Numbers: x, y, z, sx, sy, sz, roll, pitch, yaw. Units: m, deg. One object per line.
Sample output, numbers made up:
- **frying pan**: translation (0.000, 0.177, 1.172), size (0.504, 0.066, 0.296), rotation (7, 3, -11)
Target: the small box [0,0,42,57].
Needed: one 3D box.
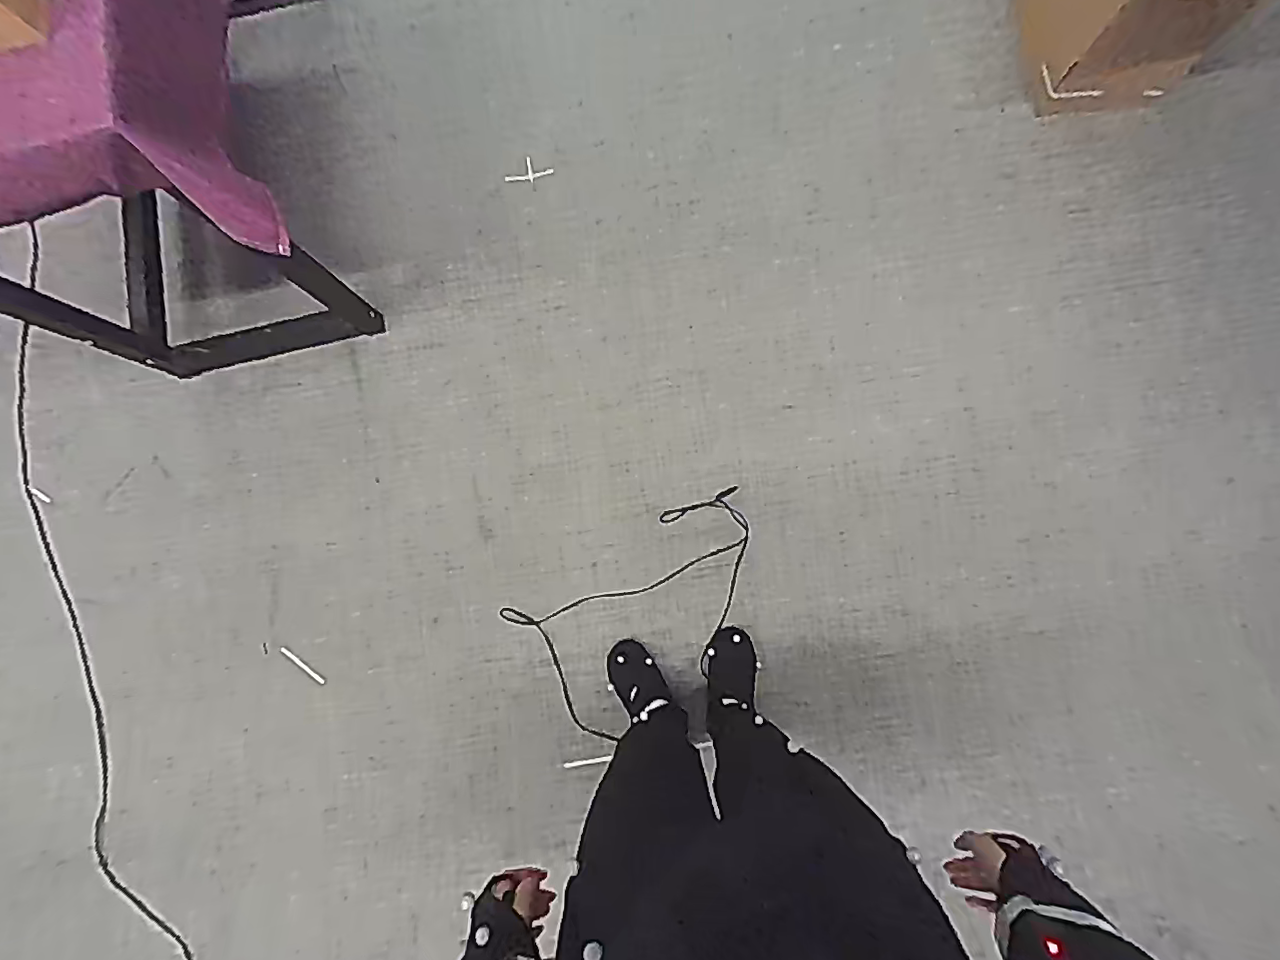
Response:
- **small box**: translation (-0.917, -0.669, 0.680), size (0.179, 0.176, 0.168), rotation (-9, 81, 3)
